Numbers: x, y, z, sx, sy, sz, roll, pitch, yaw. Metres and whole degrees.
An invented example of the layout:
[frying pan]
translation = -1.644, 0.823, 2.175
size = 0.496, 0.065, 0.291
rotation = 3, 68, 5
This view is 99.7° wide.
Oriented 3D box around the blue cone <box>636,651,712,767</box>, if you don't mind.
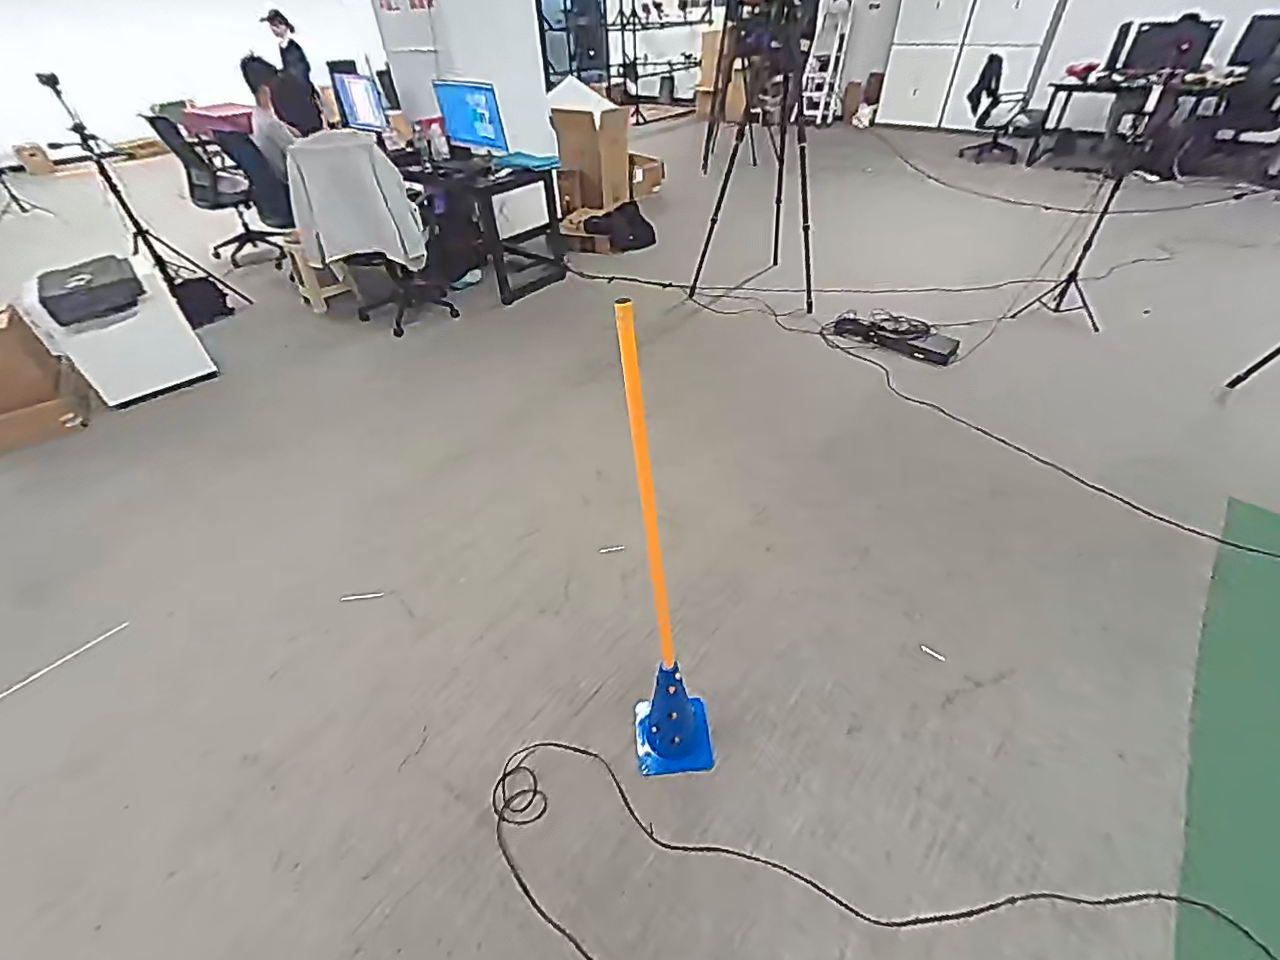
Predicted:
[blue cone]
translation = 0.077, 0.557, 1.373
size = 0.192, 0.380, 0.193
rotation = -6, 39, -2
